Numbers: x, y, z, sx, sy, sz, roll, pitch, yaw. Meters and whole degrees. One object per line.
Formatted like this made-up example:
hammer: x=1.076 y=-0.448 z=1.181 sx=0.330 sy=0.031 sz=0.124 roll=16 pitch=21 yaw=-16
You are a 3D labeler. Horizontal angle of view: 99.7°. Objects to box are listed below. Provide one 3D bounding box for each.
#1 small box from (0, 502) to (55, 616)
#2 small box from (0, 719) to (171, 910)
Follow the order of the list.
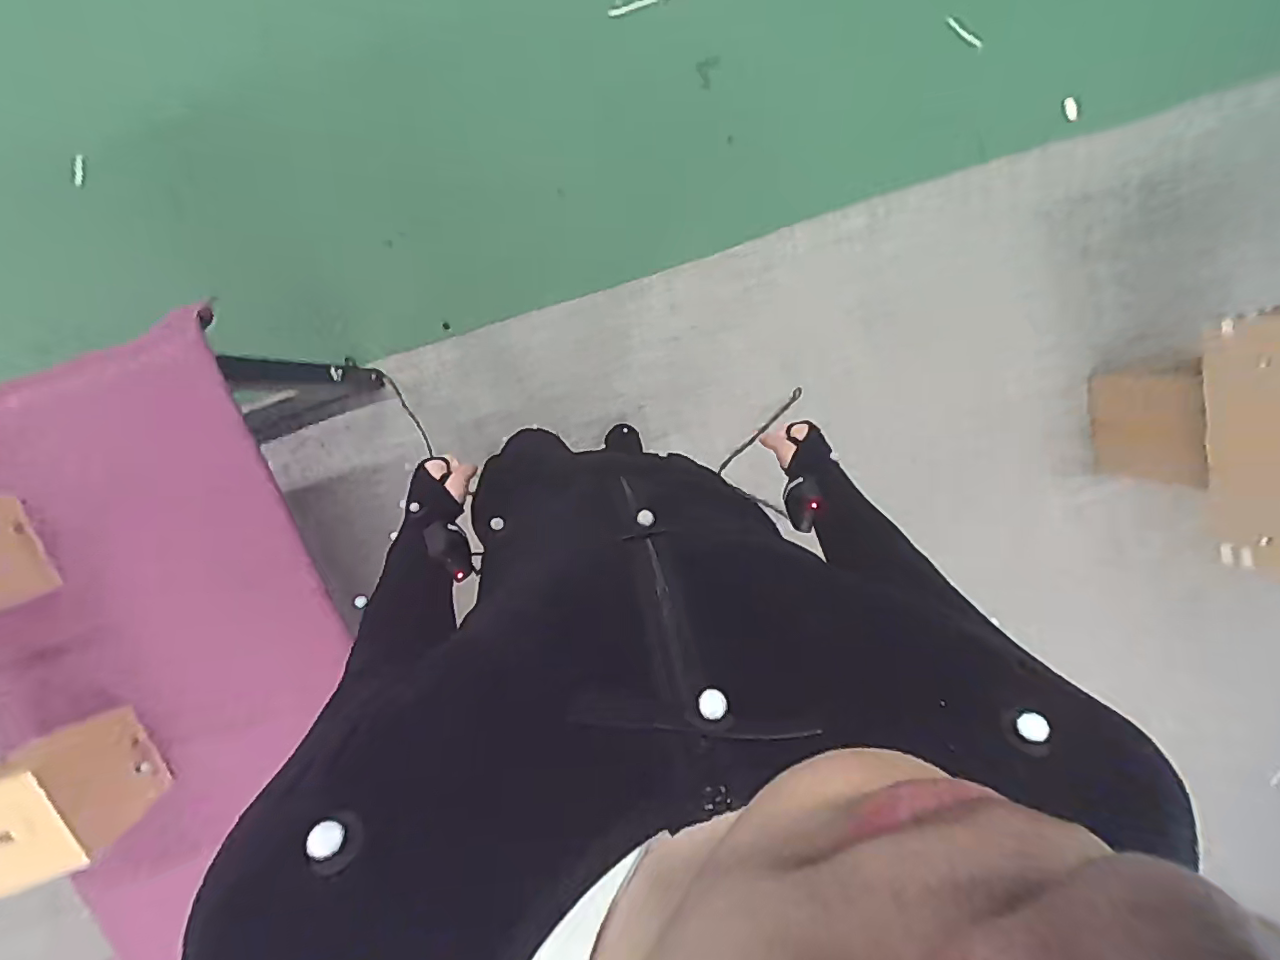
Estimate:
small box: x=-1.024 y=0.144 z=0.768 sx=0.179 sy=0.176 sz=0.168 roll=-18 pitch=100 yaw=1
small box: x=-0.897 y=0.507 z=0.830 sx=0.179 sy=0.176 sz=0.168 roll=-20 pitch=100 yaw=0
